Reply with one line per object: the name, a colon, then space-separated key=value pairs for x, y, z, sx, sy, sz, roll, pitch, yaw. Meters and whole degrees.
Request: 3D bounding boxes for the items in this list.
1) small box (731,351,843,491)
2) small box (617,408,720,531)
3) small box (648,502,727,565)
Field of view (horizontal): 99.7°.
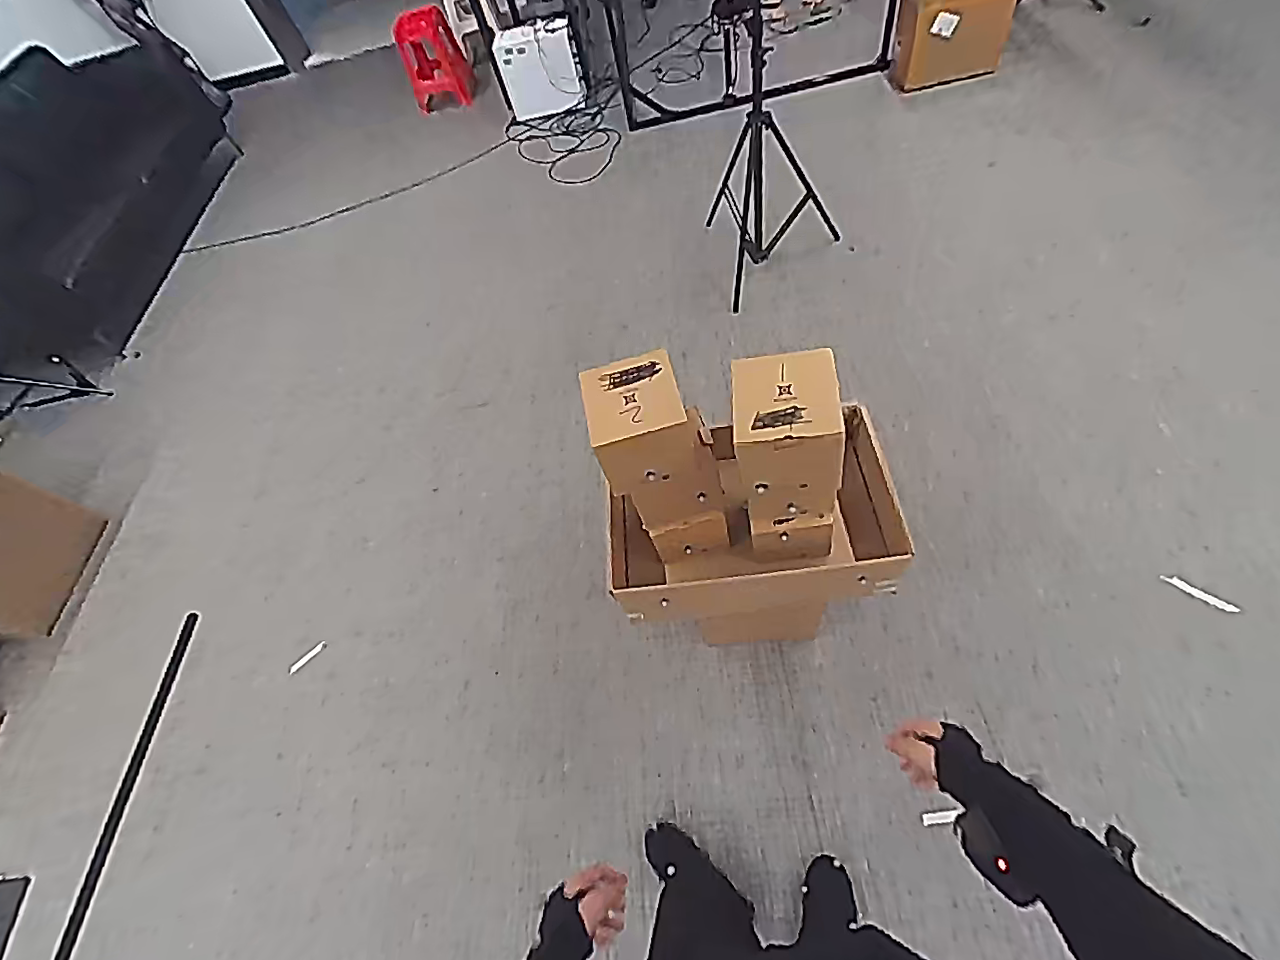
small box: x=0.248 y=-0.090 z=0.918 sx=0.168 sy=0.176 sz=0.179 roll=-4 pitch=58 yaw=14
small box: x=0.063 y=-0.017 z=1.117 sx=0.179 sy=0.176 sz=0.168 roll=-15 pitch=56 yaw=3
small box: x=0.098 y=0.072 z=1.249 sx=0.168 sy=0.176 sz=0.179 roll=-15 pitch=57 yaw=4
